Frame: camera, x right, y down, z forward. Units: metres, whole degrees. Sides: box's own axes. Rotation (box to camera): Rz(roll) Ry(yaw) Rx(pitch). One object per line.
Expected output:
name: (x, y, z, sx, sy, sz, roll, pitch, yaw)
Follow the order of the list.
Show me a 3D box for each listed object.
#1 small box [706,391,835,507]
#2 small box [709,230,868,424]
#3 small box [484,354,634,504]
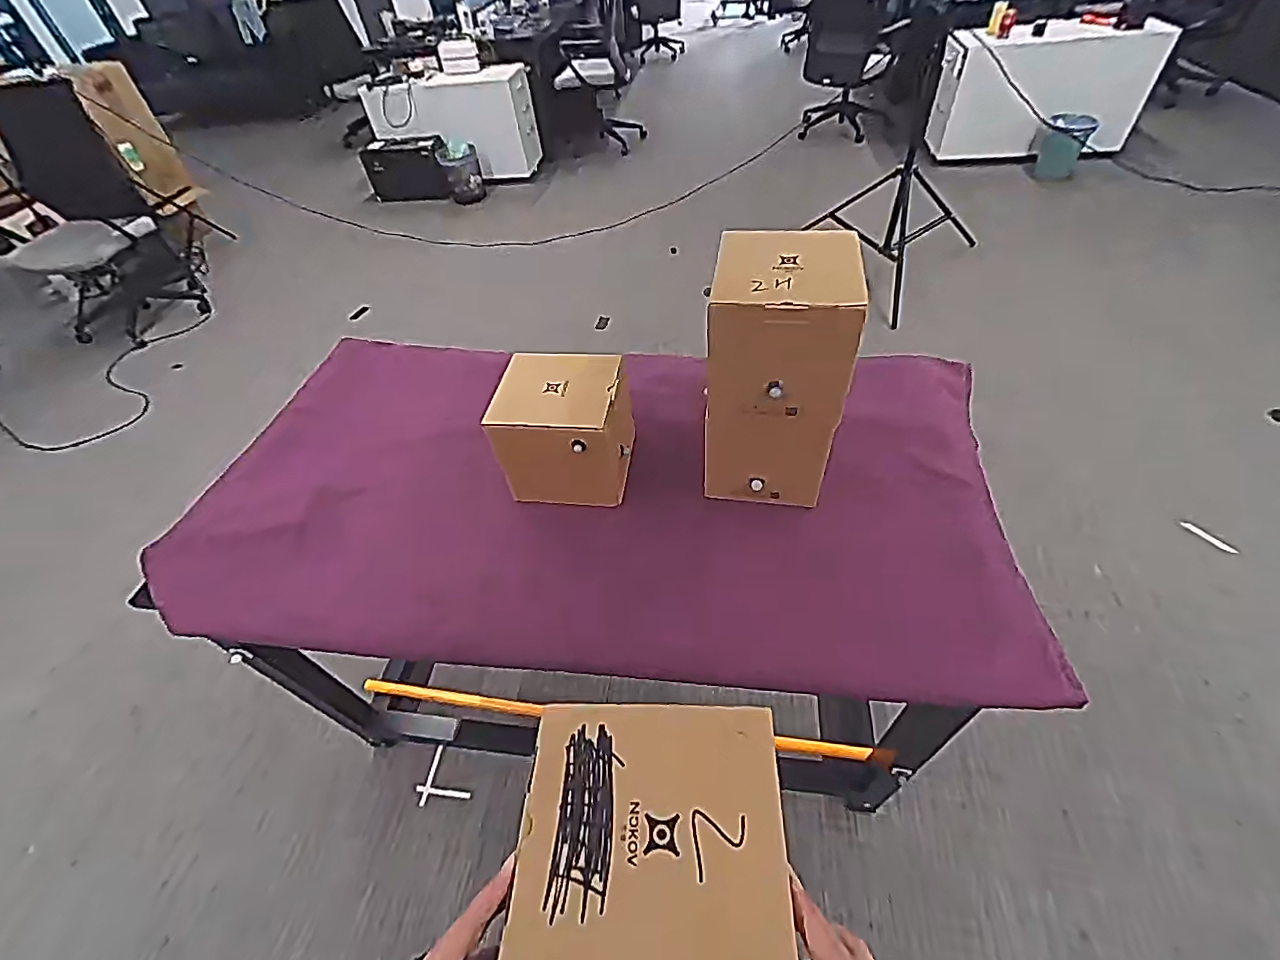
small box: (0.189, -0.085, 0.805, 0.168, 0.176, 0.179, 5, 50, 11)
small box: (0.178, -0.194, 0.681, 0.168, 0.176, 0.179, 4, 49, 12)
small box: (-0.112, -0.077, 0.835, 0.179, 0.176, 0.168, 3, 48, 8)
